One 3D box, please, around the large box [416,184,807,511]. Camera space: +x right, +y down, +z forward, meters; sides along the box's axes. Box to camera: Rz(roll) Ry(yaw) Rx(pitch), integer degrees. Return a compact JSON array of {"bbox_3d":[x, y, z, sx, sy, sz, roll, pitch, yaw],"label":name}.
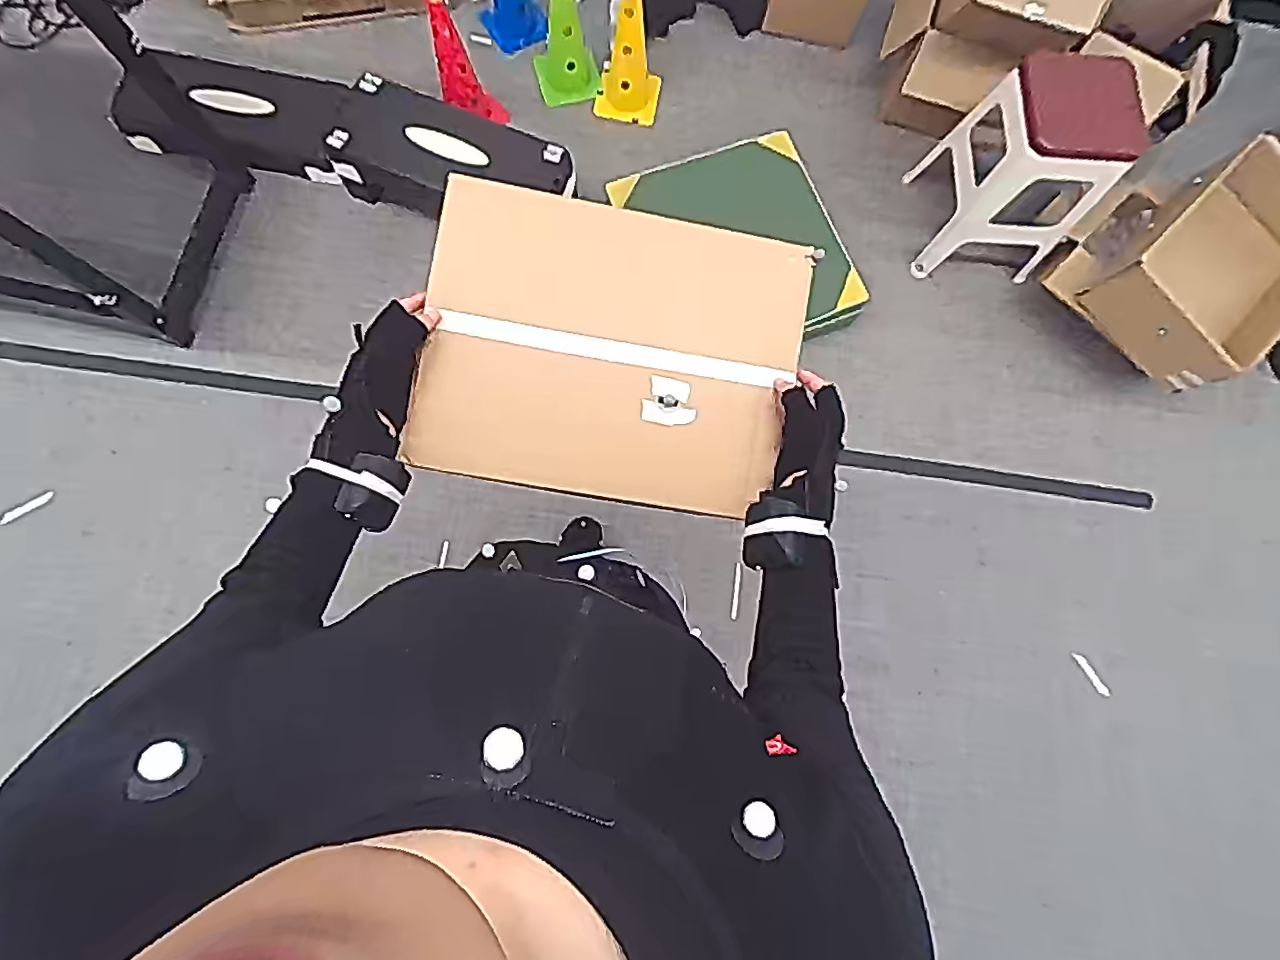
[{"bbox_3d":[-0.039,-0.141,0.748,0.408,0.320,0.320,10,88,-5],"label":"large box"}]
